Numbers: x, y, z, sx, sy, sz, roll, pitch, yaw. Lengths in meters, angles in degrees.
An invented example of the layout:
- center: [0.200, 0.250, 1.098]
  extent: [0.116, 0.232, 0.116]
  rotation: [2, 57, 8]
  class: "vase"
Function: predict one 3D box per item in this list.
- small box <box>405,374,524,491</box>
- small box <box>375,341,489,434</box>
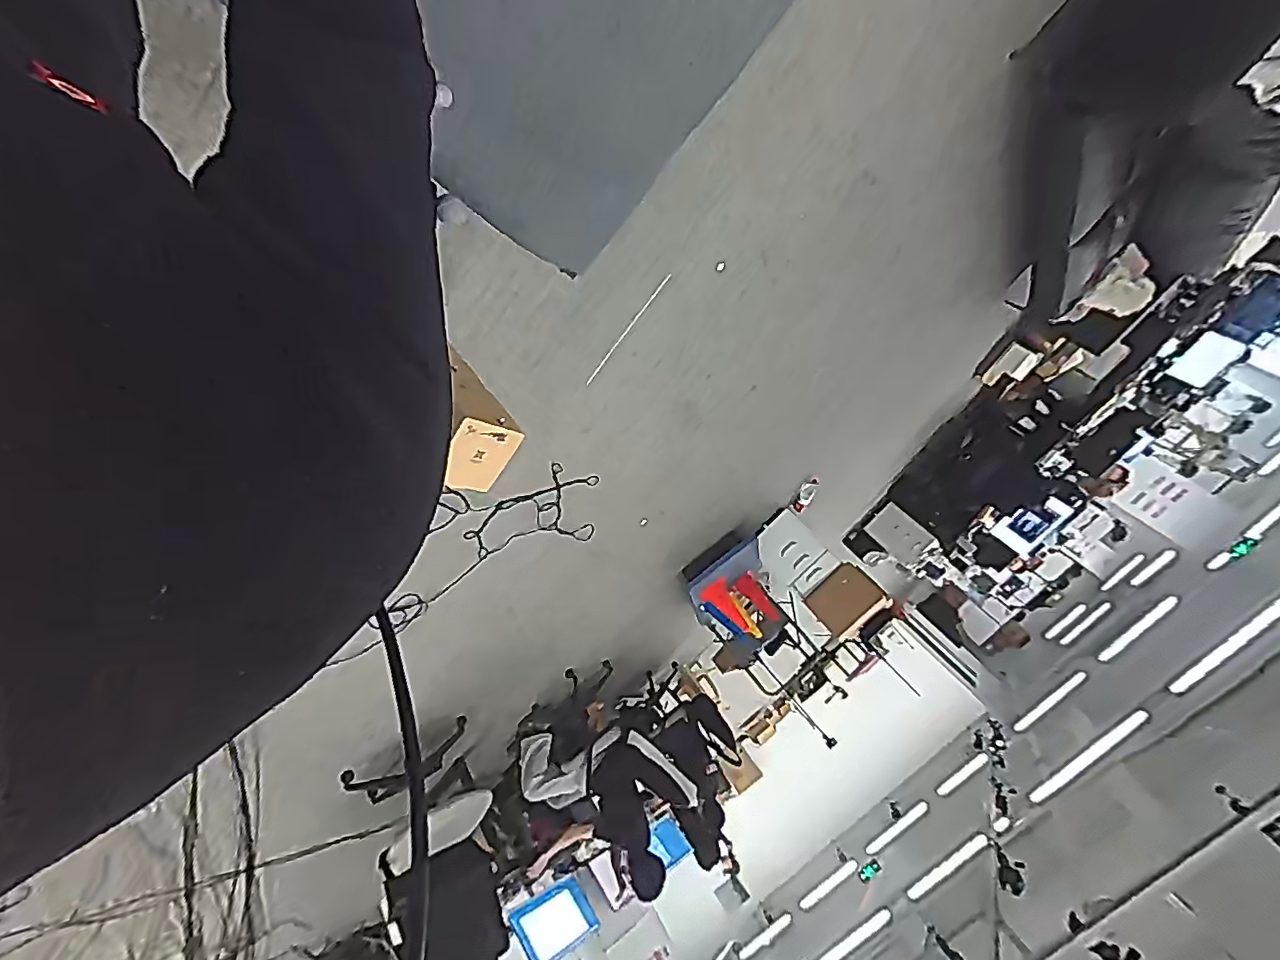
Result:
- center: [-0.400, -0.103, 1.210]
  extent: [0.179, 0.176, 0.168]
  rotation: [-51, 148, 16]
  class: "small box"
- center: [-0.497, -0.207, 1.292]
  extent: [0.168, 0.176, 0.179]
  rotation: [-52, 149, 16]
  class: "small box"
